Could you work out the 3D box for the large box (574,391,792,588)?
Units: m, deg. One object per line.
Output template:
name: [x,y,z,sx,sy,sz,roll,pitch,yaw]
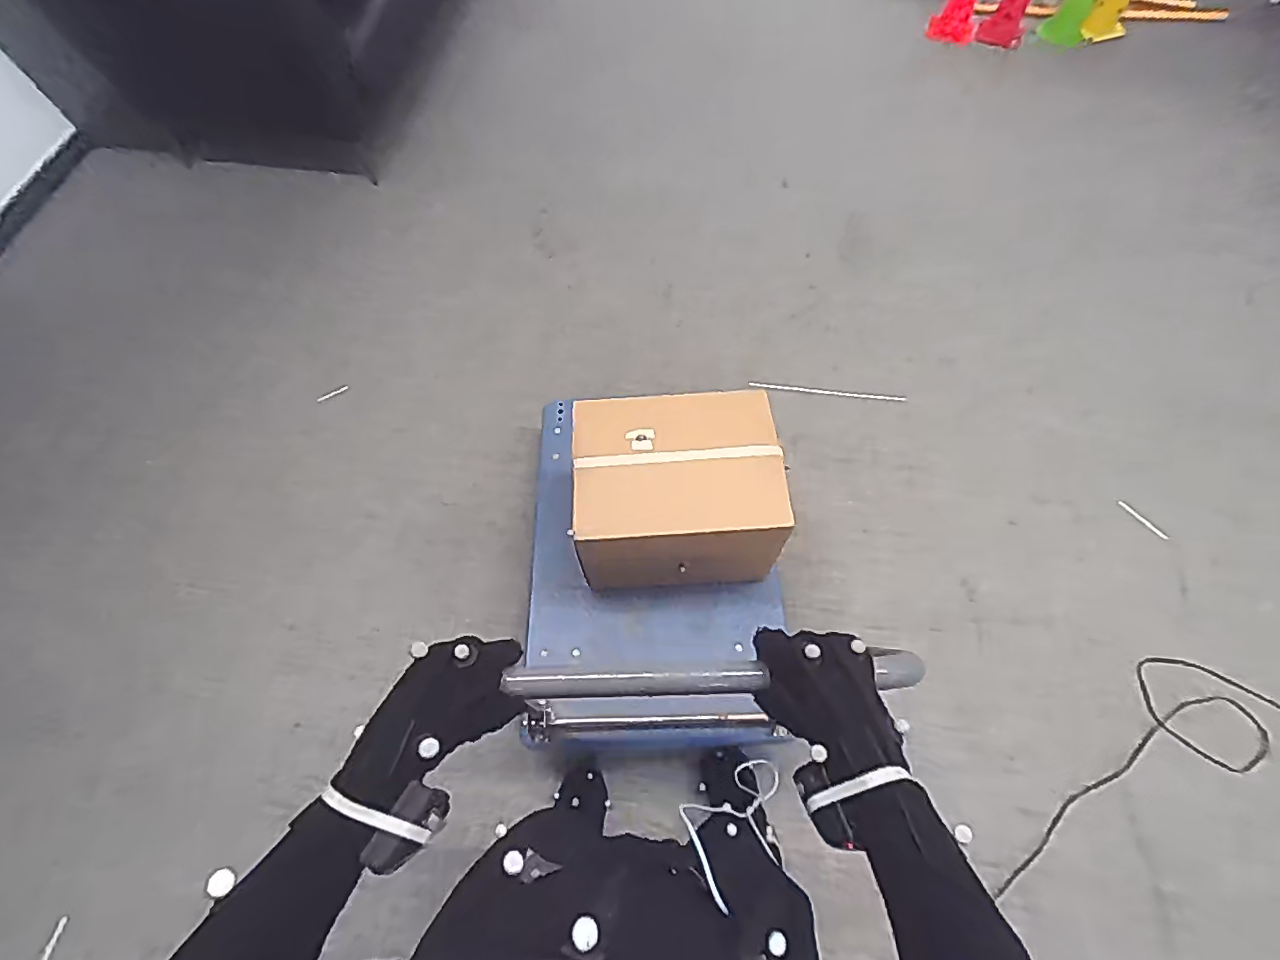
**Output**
large box: [0.080,0.034,1.195,0.408,0.320,0.320,-5,62,0]
